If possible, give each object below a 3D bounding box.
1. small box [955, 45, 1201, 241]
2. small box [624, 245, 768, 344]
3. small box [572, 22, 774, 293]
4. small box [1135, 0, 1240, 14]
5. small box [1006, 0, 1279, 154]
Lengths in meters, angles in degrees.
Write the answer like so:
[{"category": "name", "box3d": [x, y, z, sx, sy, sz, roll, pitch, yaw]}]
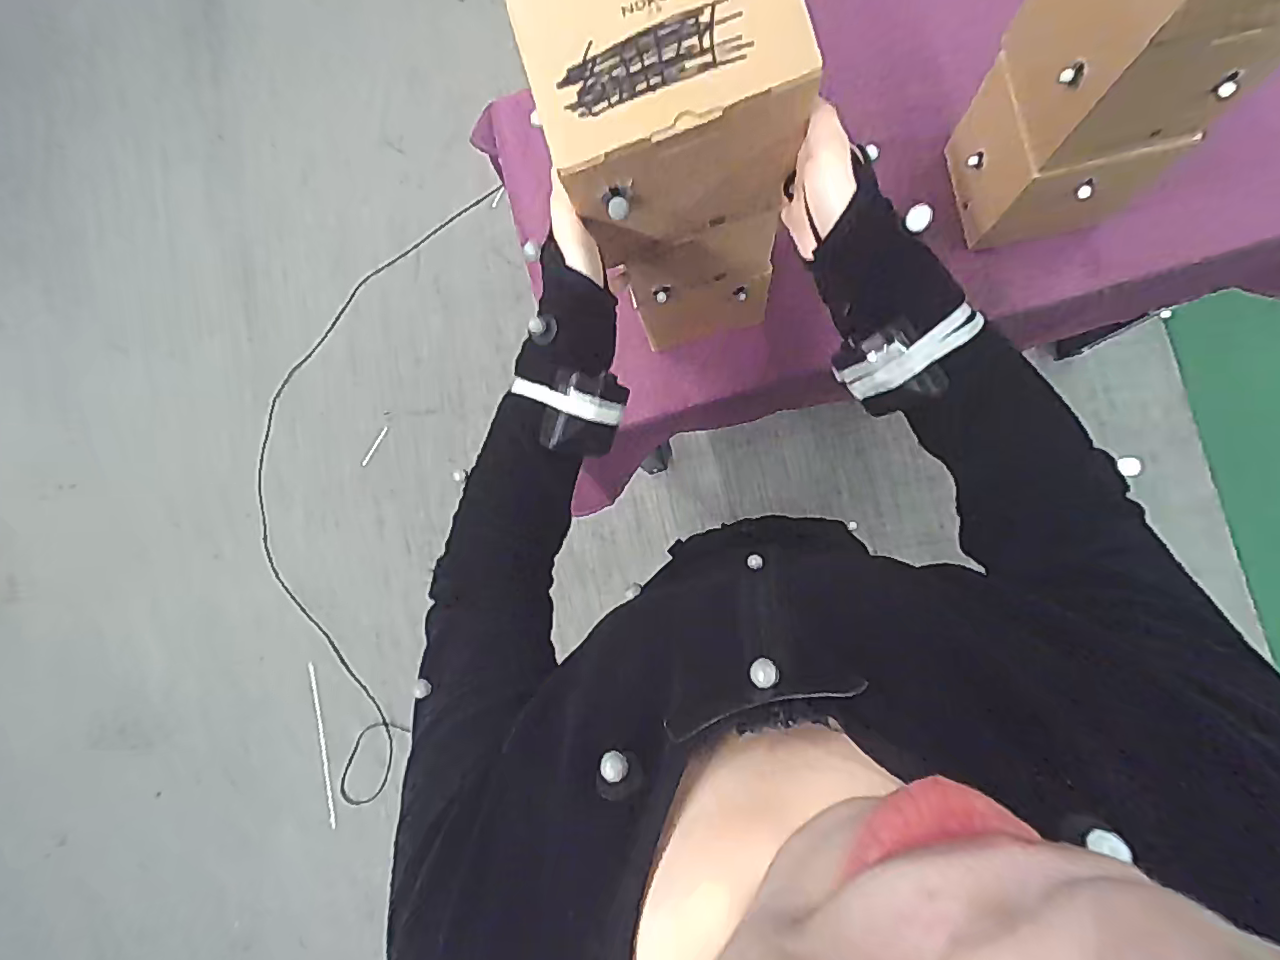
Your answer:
[{"category": "small box", "box3d": [0.527, -0.431, 0.686, 0.179, 0.176, 0.168, -10, 84, 9]}, {"category": "small box", "box3d": [0.070, -0.308, 0.753, 0.179, 0.176, 0.168, -14, 82, 7]}, {"category": "small box", "box3d": [0.042, -0.327, 0.592, 0.168, 0.176, 0.179, -14, 81, 7]}, {"category": "small box", "box3d": [0.468, -0.470, 0.366, 0.168, 0.176, 0.179, -11, 84, 7]}, {"category": "small box", "box3d": [0.498, -0.455, 0.527, 0.168, 0.176, 0.179, -10, 83, 8]}]
